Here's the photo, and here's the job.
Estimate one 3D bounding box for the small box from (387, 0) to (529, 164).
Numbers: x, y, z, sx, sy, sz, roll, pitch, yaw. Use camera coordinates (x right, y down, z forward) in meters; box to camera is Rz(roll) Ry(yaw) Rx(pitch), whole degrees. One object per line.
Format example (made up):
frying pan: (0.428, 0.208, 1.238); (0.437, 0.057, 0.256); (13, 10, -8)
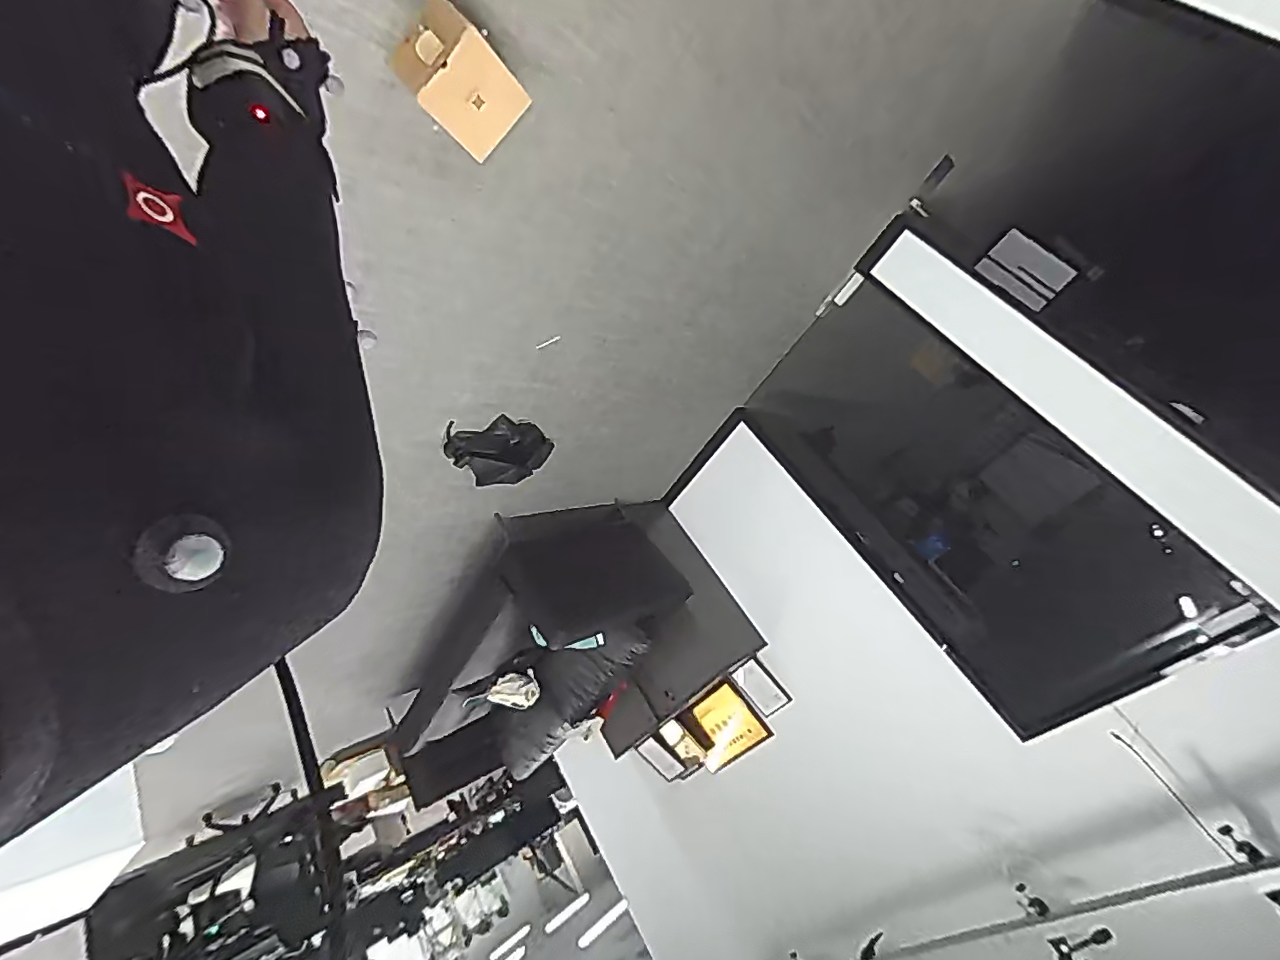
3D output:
small box: (-0.360, -0.786, 1.071); (0.168, 0.176, 0.179); (-42, 155, 15)
